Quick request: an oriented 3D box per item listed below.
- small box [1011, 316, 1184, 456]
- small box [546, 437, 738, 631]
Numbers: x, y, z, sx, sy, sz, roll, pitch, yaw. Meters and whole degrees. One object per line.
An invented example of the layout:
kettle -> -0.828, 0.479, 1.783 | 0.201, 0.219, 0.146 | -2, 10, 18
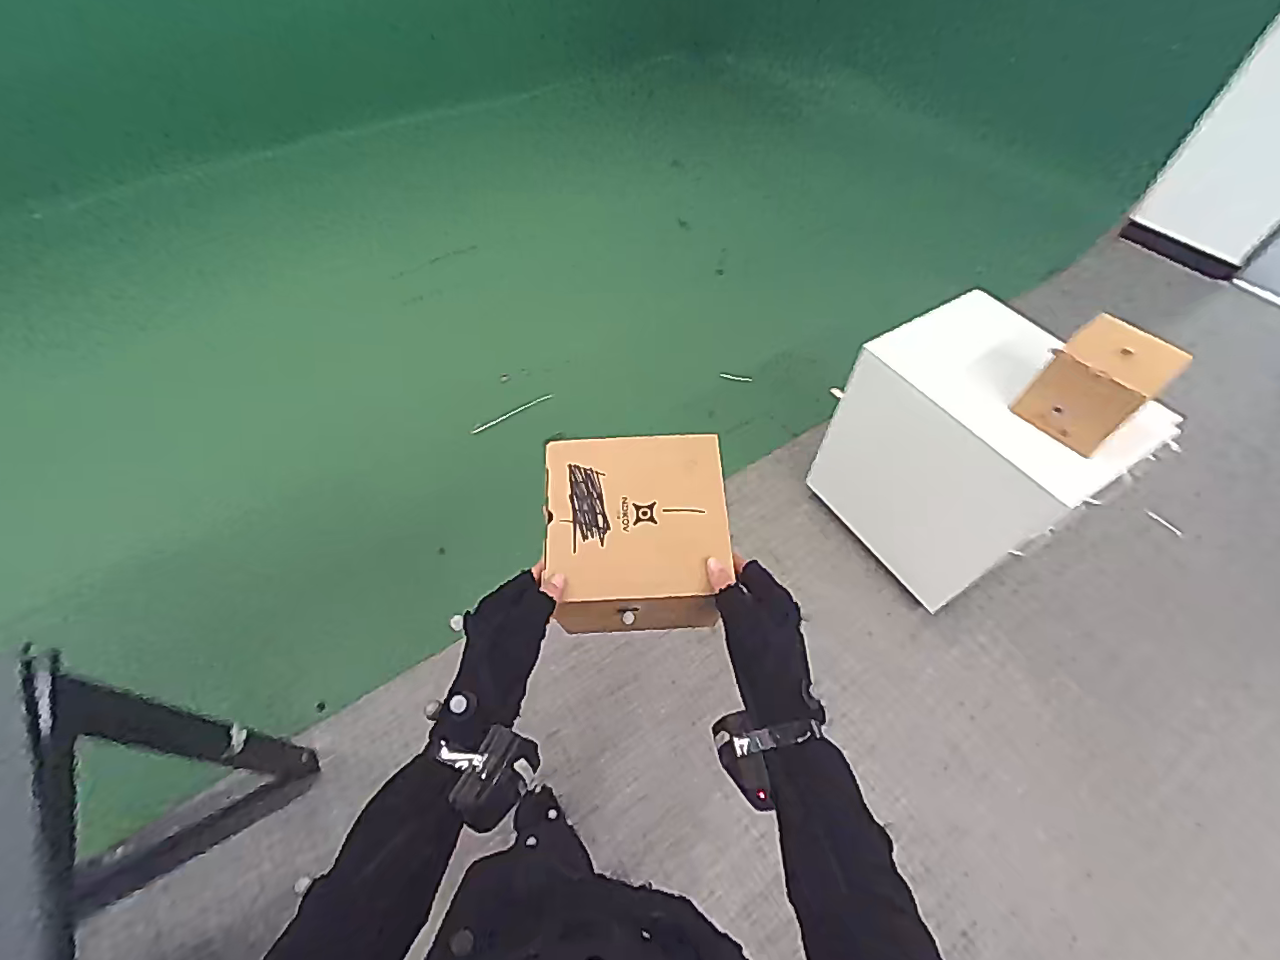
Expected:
small box -> 0.877, -0.181, 1.055 | 0.179, 0.176, 0.168 | -33, 60, -21
small box -> 0.002, 0.067, 0.591 | 0.179, 0.176, 0.168 | -2, 64, -1
